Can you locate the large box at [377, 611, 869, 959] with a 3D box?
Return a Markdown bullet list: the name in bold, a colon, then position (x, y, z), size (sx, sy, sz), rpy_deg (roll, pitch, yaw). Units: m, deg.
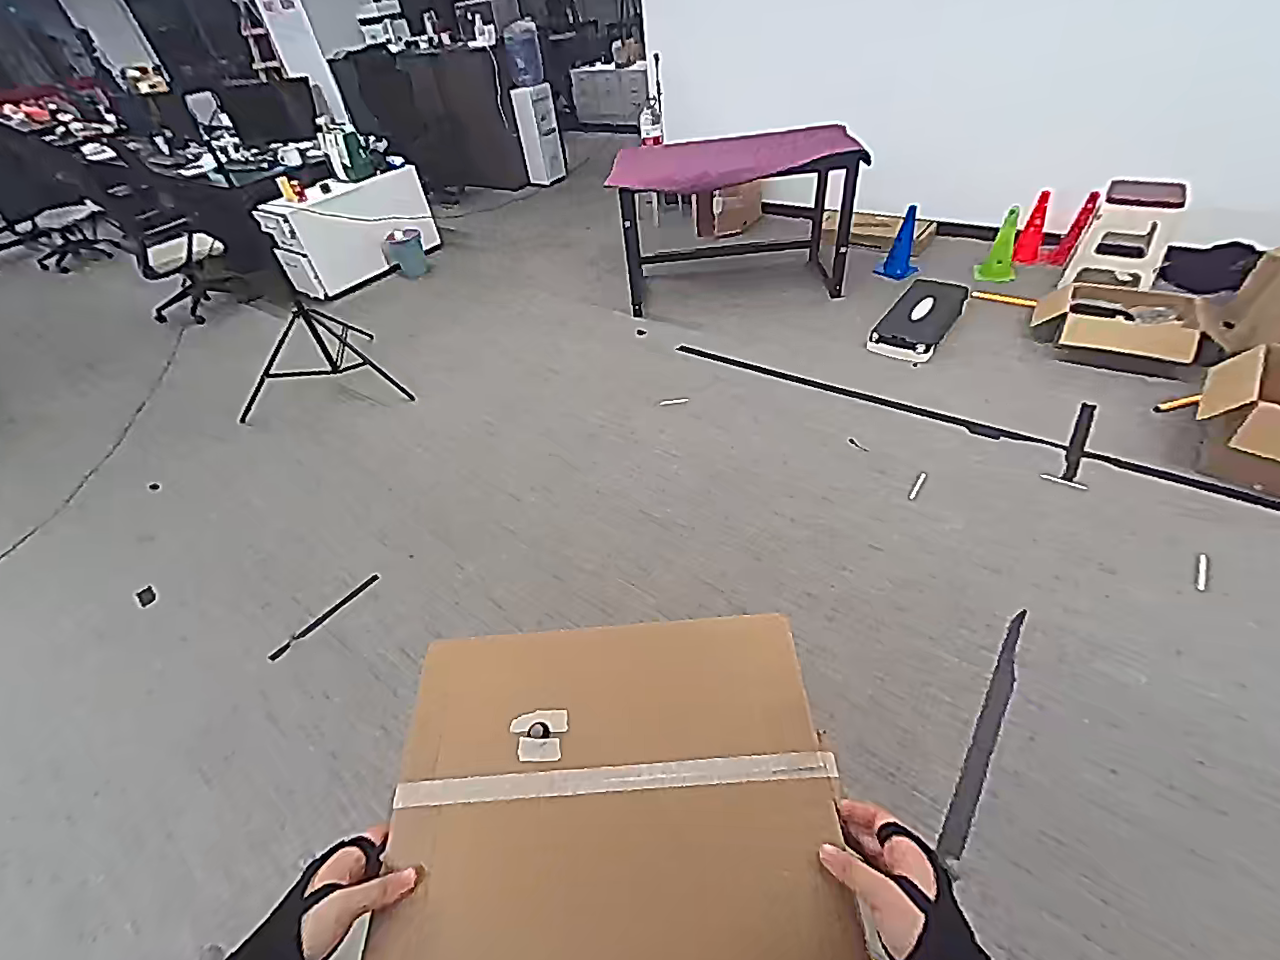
- **large box**: position (-0.009, 0.382, 0.628), size (0.408, 0.320, 0.320), rpy_deg (-7, 47, 4)
